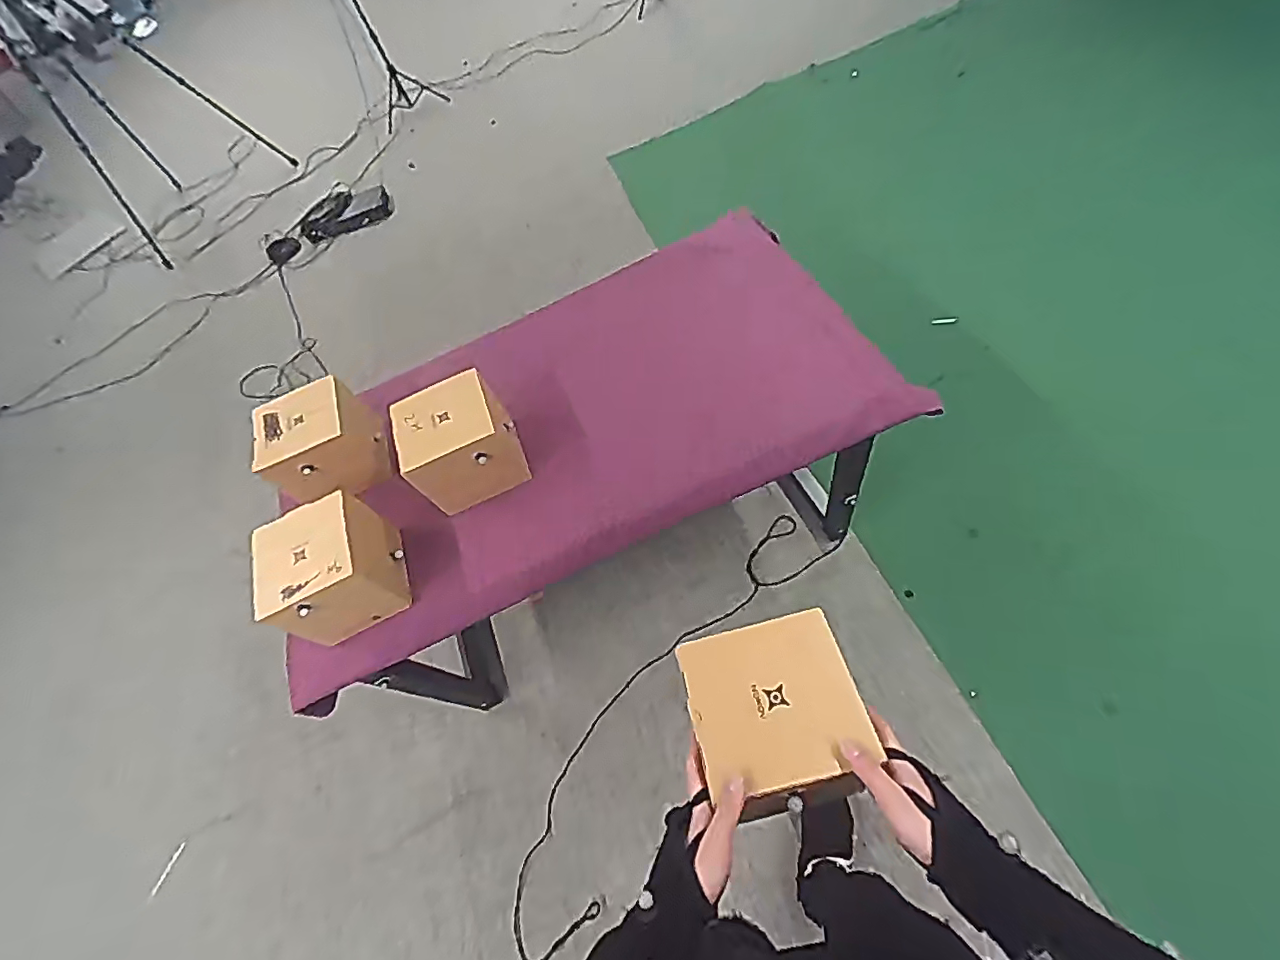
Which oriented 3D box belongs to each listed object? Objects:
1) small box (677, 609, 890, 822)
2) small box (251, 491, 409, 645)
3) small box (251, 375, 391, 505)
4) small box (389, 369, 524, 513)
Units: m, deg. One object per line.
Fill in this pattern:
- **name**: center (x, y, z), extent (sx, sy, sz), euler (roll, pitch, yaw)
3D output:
- **small box**: center (0.155, 0.275, 0.622), extent (0.179, 0.176, 0.168), euler (-17, 51, 3)
- **small box**: center (-0.524, 0.156, 0.927), extent (0.168, 0.176, 0.179), euler (-26, 58, -2)
- **small box**: center (-0.630, -0.070, 1.077), extent (0.179, 0.176, 0.168), euler (-24, 60, -1)
- **small box**: center (-0.331, -0.066, 1.003), extent (0.179, 0.176, 0.168), euler (-24, 59, -1)
